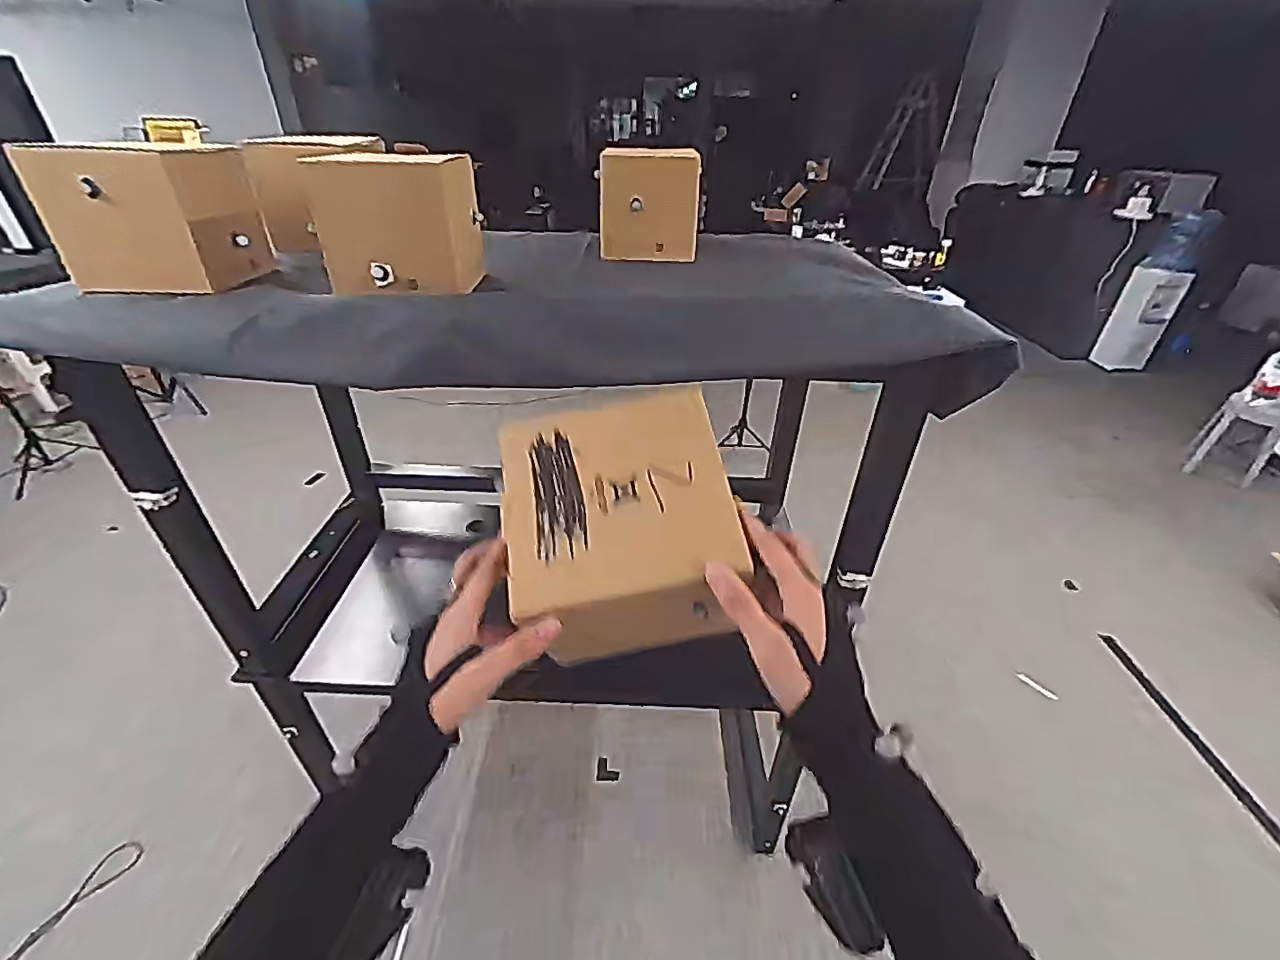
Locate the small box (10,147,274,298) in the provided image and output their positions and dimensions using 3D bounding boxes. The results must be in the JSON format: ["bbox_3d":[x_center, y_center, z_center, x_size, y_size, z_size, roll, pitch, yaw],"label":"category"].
[{"bbox_3d":[-0.652,-0.353,0.739,0.179,0.176,0.168,0,33,-3],"label":"small box"}]

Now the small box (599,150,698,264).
[{"bbox_3d":[0.016,-0.499,0.986,0.168,0.176,0.179,1,34,0],"label":"small box"}]

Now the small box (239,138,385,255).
[{"bbox_3d":[-0.561,-0.510,0.978,0.179,0.176,0.168,1,34,-2],"label":"small box"}]

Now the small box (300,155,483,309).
[{"bbox_3d":[-0.320,-0.343,0.741,0.168,0.176,0.179,-1,33,-3],"label":"small box"}]
